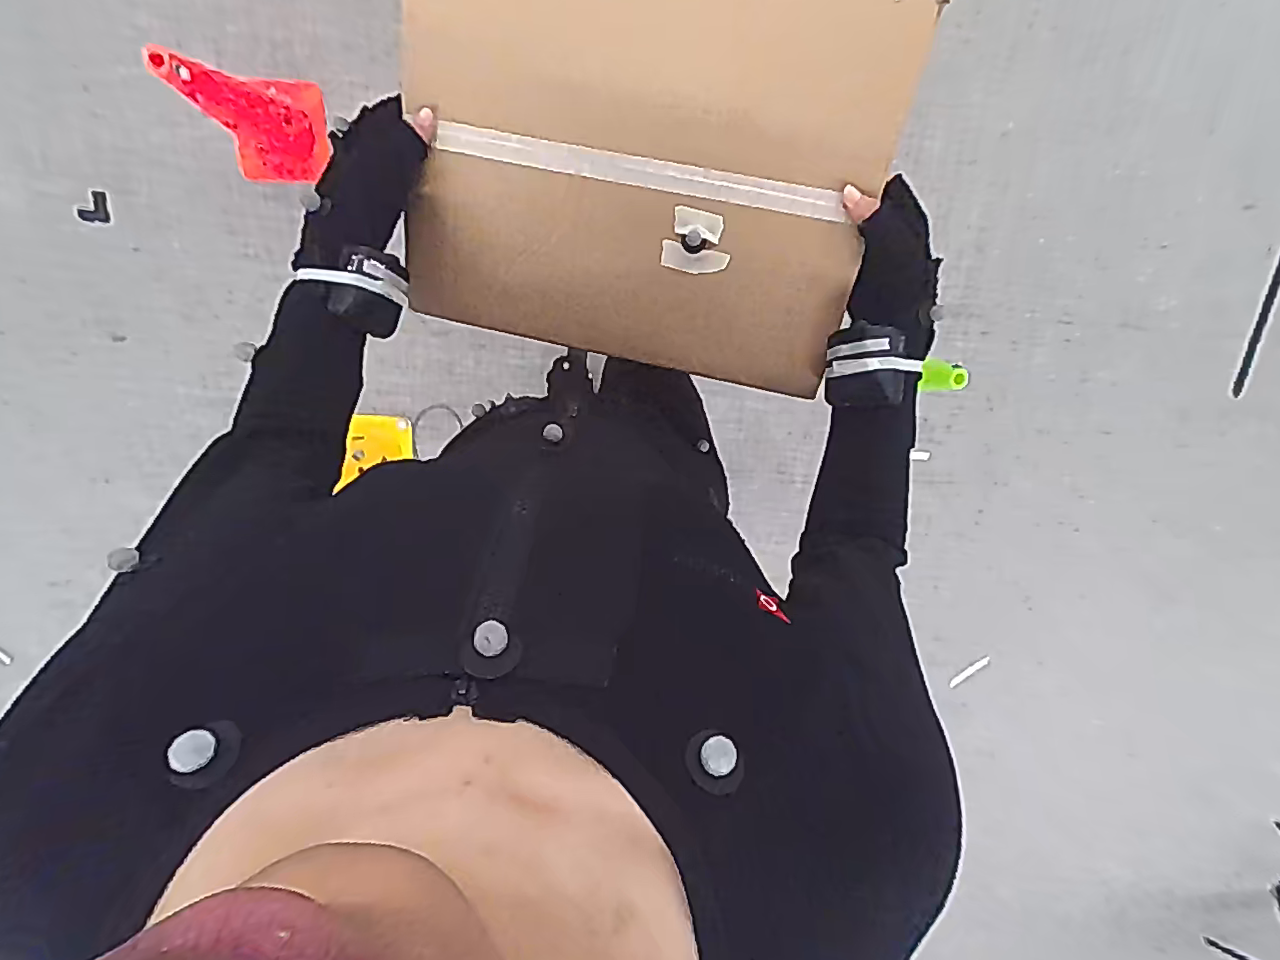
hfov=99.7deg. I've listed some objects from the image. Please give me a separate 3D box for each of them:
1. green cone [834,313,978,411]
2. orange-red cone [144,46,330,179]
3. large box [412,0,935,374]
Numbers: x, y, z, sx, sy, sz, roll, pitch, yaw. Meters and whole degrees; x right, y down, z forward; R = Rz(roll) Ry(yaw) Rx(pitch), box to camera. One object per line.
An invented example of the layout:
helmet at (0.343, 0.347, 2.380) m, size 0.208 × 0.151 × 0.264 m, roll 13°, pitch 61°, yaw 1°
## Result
green cone at (0.650, -0.262, 1.270) m, size 0.202 × 0.368 × 0.200 m, roll -33°, pitch 106°, yaw 5°
orange-red cone at (-0.796, -0.737, 1.048) m, size 0.198 × 0.360 × 0.199 m, roll 1°, pitch 108°, yaw -3°
large box at (0.019, -0.330, 0.587) m, size 0.408 × 0.320 × 0.320 m, roll 13°, pitch 115°, yaw 4°
